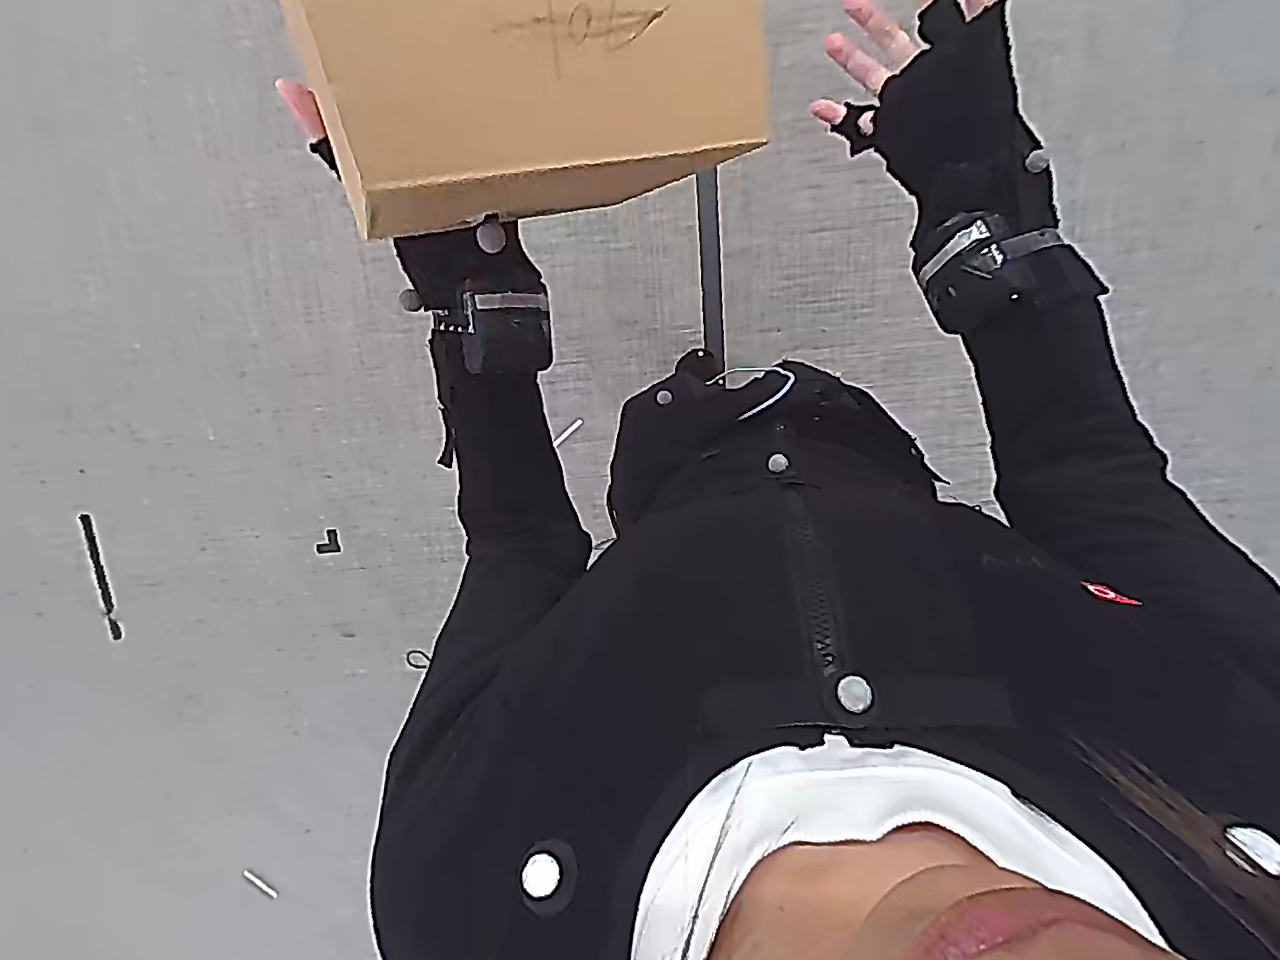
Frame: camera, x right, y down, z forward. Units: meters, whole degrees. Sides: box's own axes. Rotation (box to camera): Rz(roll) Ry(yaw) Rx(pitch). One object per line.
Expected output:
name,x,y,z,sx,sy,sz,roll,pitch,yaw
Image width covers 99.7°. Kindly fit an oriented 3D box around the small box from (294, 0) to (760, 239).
small box,-0.067,-0.225,0.251,0.168,0.176,0.179,-19,114,-20
